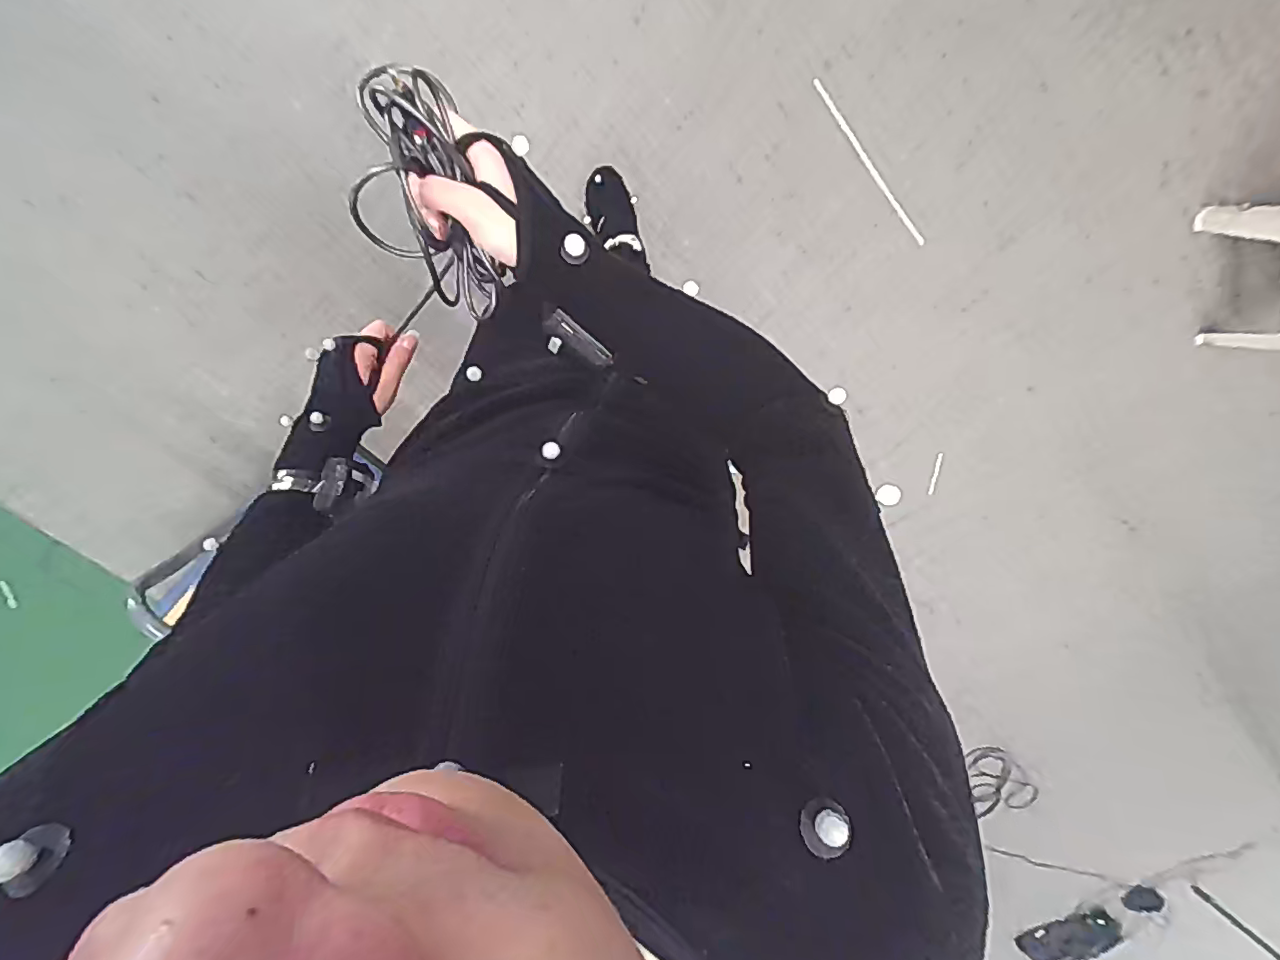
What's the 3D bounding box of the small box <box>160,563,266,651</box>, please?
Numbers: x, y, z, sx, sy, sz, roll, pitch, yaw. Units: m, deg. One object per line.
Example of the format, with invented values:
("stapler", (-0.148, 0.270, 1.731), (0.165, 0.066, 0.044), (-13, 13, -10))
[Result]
("small box", (-1.186, 0.342, 1.537), (0.179, 0.176, 0.168), (-41, 110, 15))
